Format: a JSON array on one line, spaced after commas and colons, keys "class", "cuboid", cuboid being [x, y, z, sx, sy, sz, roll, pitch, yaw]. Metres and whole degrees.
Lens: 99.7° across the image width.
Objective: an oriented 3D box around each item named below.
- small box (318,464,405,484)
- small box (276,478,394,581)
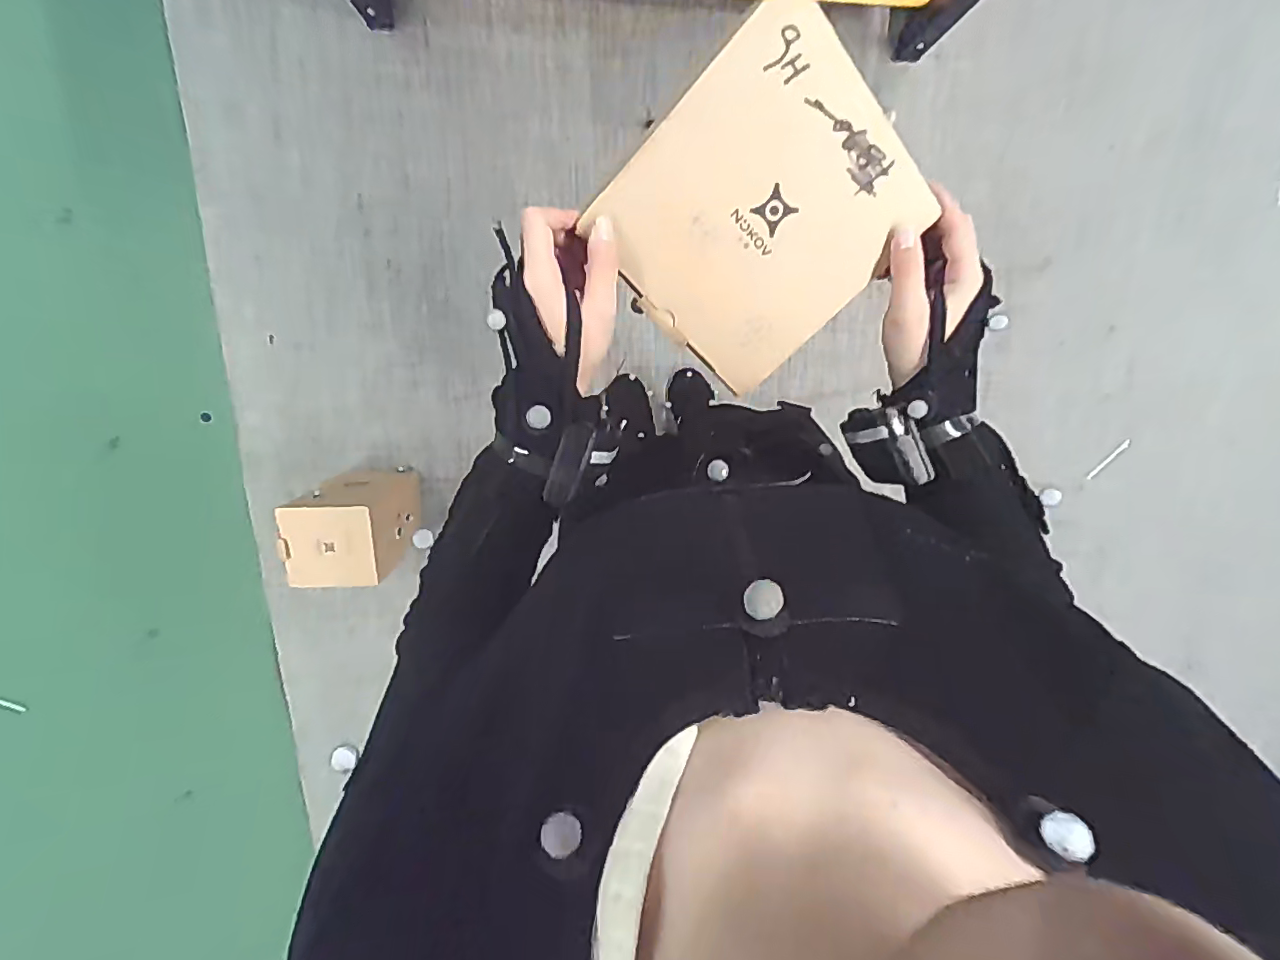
[{"class": "small box", "cuboid": [-0.622, 0.062, 1.267, 0.168, 0.176, 0.179, 2, 104, -3]}, {"class": "small box", "cuboid": [-0.598, 0.096, 1.109, 0.179, 0.176, 0.168, -2, 105, -4]}]
